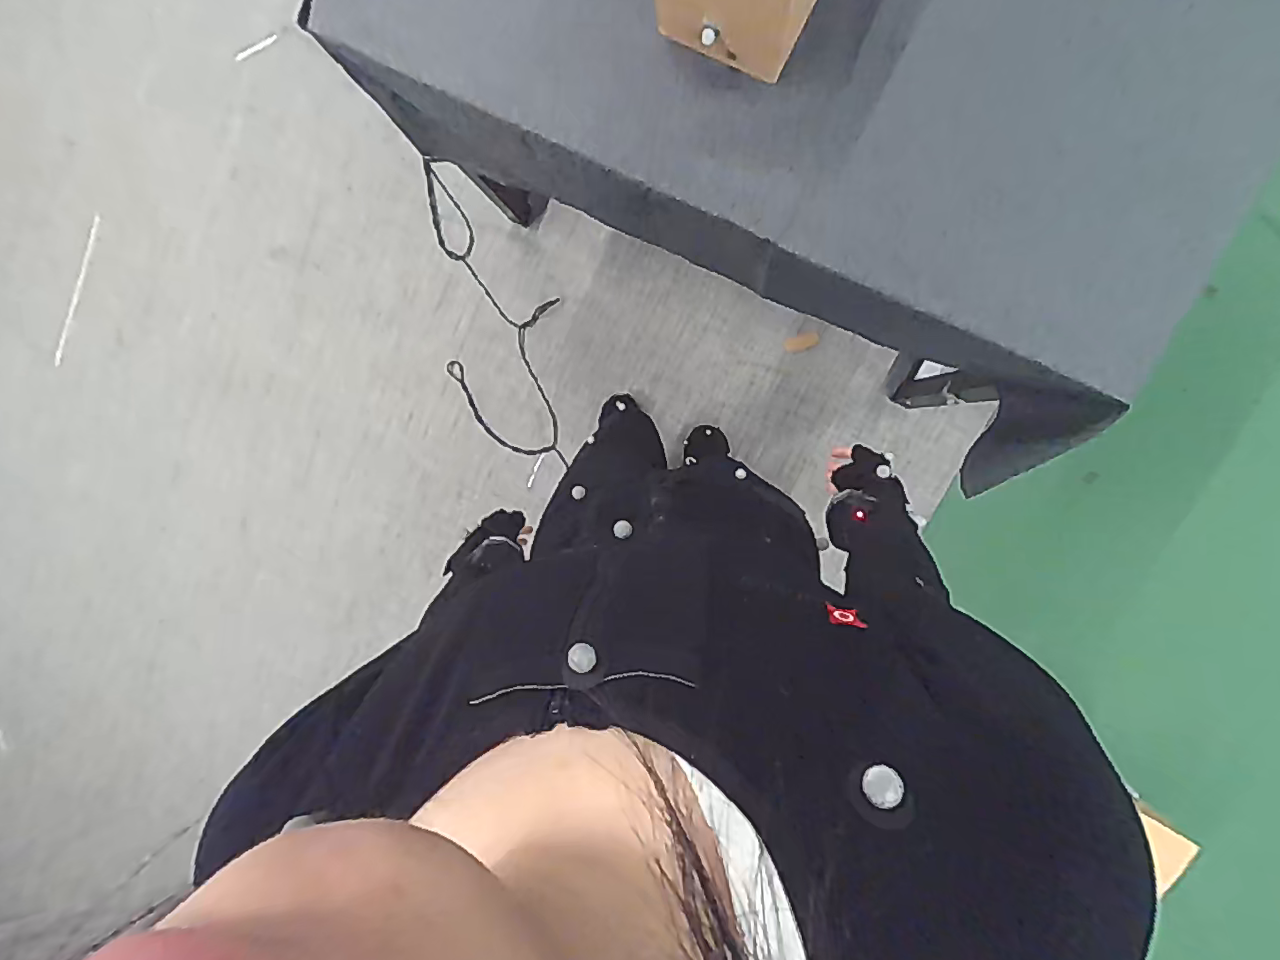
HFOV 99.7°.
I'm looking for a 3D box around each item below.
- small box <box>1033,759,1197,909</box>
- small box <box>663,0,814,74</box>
[{"bbox_3d":[1.013,0.754,1.174,0.168,0.176,0.179,31,98,3],"label":"small box"},{"bbox_3d":[0.123,-0.604,0.585,0.168,0.176,0.179,28,99,4],"label":"small box"}]
